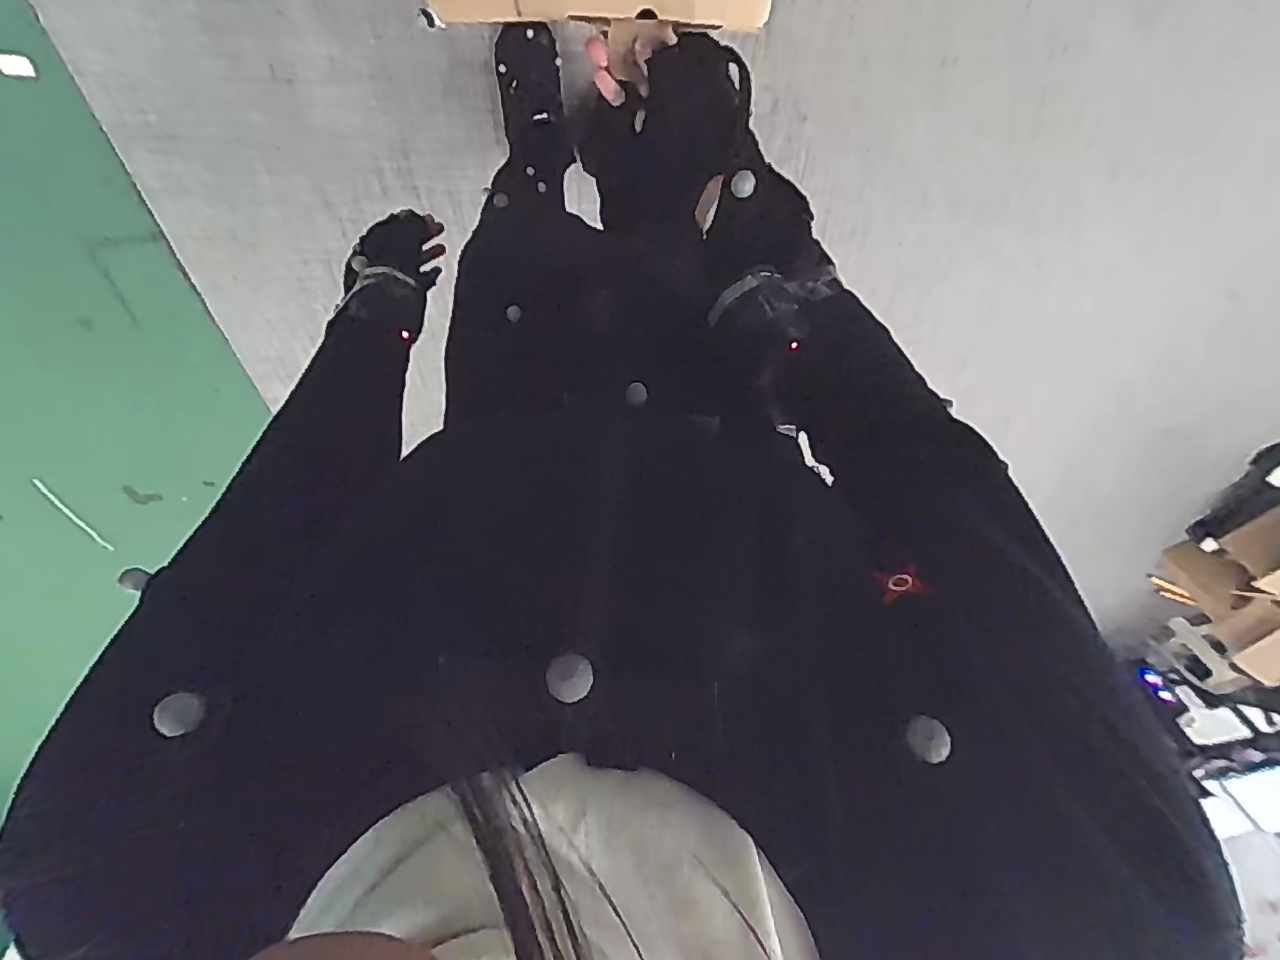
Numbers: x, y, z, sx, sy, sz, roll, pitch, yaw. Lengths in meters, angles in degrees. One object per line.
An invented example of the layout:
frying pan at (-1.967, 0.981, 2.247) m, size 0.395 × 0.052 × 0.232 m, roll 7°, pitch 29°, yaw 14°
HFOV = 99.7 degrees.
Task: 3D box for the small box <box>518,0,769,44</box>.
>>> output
small box at (-0.002, -0.413, 0.347) m, size 0.168 × 0.176 × 0.179 m, roll -5°, pitch 139°, yaw -10°
